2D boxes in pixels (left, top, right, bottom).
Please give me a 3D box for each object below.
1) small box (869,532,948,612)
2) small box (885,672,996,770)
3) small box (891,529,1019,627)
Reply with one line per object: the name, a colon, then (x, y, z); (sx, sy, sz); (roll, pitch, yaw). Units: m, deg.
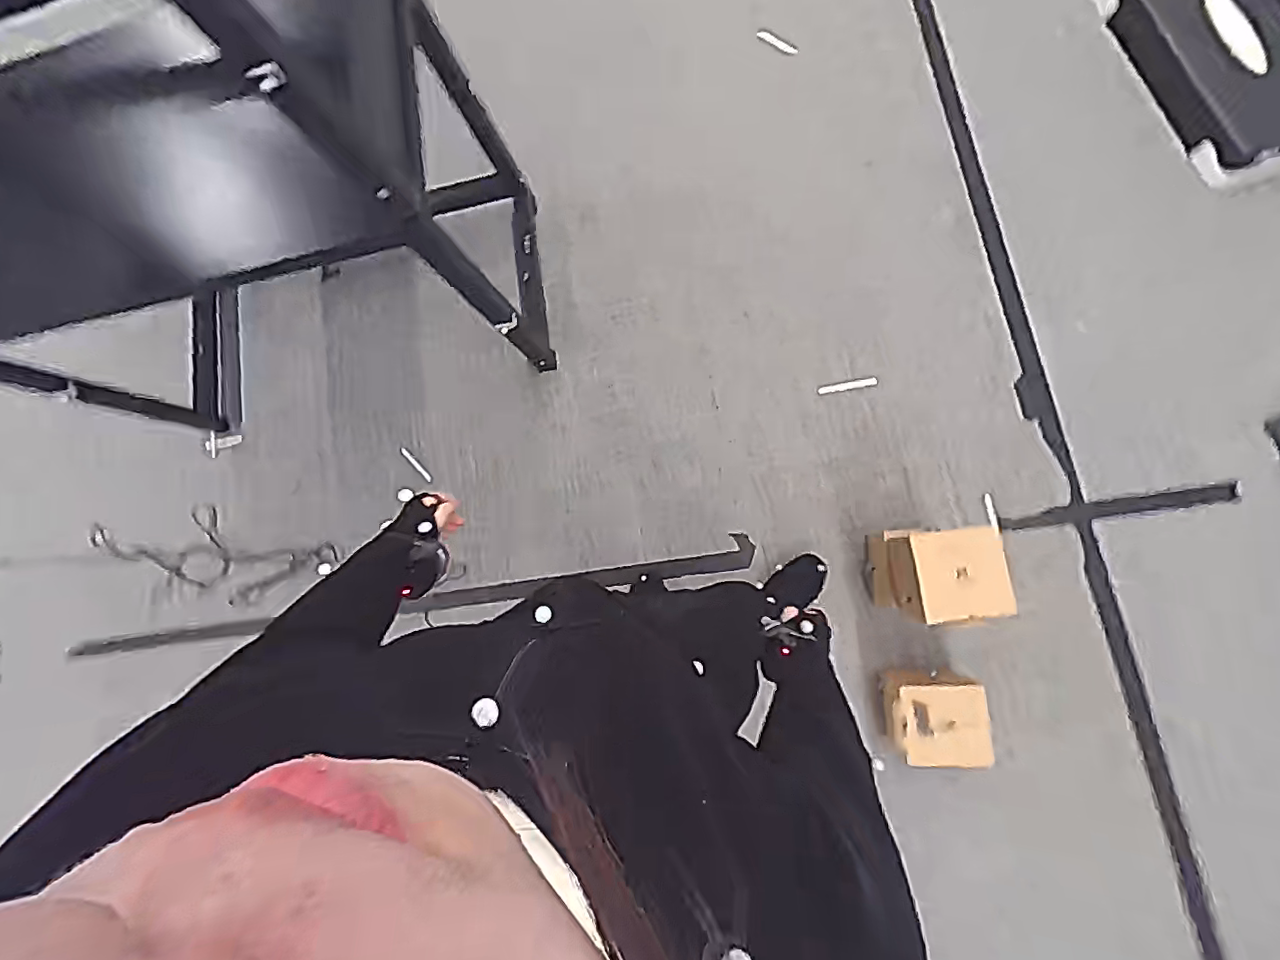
small box: (0.653, 0.213, 1.281); (0.168, 0.176, 0.179); (-4, 83, 9)
small box: (0.671, 0.542, 1.234); (0.179, 0.176, 0.168); (-4, 82, 9)
small box: (0.639, 0.199, 1.118); (0.168, 0.176, 0.179); (-8, 80, 8)
